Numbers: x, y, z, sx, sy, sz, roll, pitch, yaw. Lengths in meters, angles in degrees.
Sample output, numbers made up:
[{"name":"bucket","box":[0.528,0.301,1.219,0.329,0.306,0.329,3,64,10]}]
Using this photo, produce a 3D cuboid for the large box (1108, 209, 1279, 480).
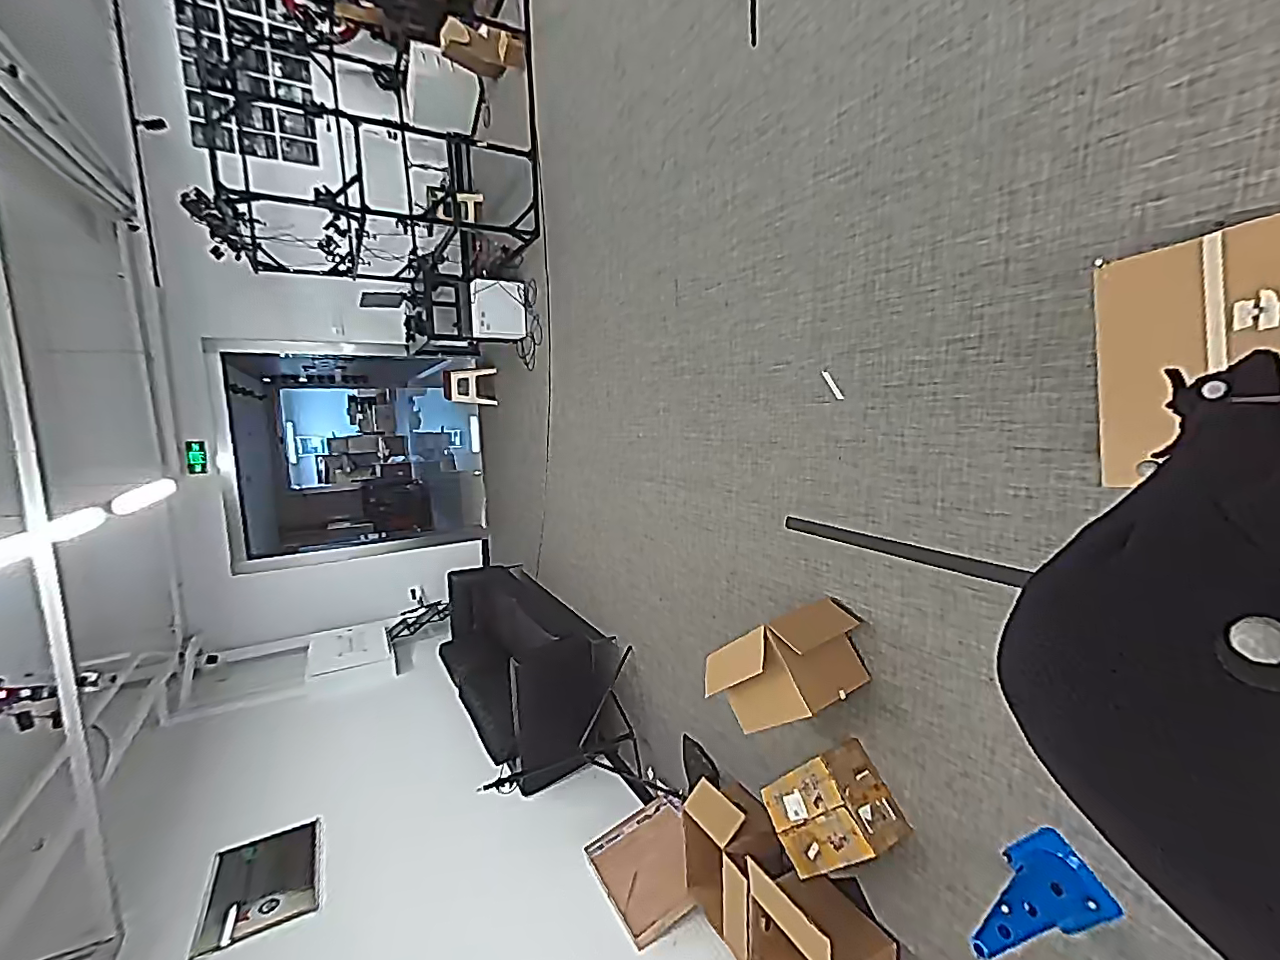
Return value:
[{"name":"large box","box":[1.056,-0.208,0.909,0.320,0.320,0.408,0,94,62]}]
